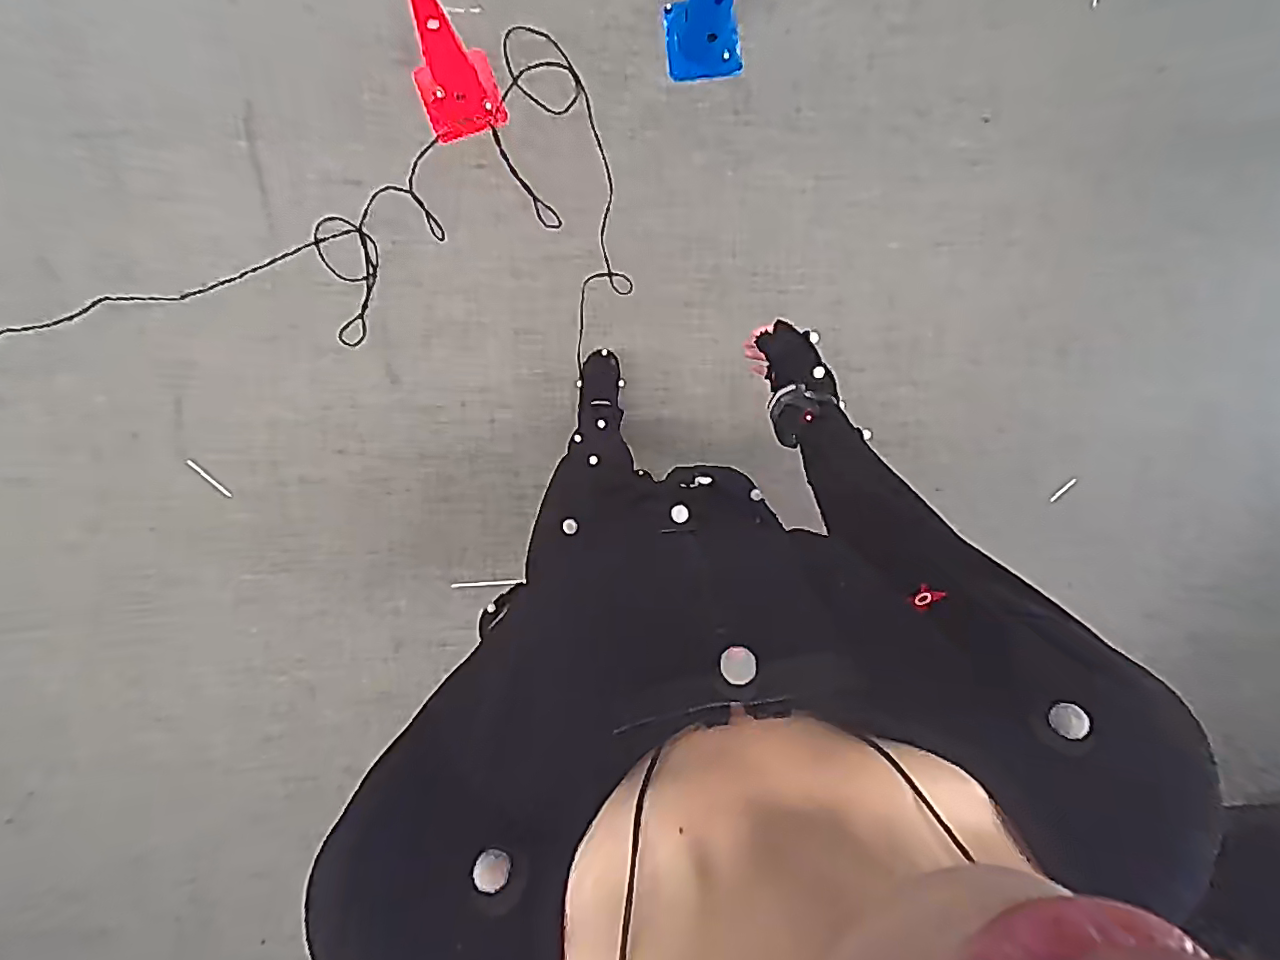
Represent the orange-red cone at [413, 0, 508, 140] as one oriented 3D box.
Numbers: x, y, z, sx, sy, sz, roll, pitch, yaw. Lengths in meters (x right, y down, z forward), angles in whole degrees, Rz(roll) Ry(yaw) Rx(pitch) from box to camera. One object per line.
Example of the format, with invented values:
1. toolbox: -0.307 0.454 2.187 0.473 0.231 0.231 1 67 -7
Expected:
1. orange-red cone: -0.451 -0.996 1.238 0.198 0.360 0.199 -20 93 -3
